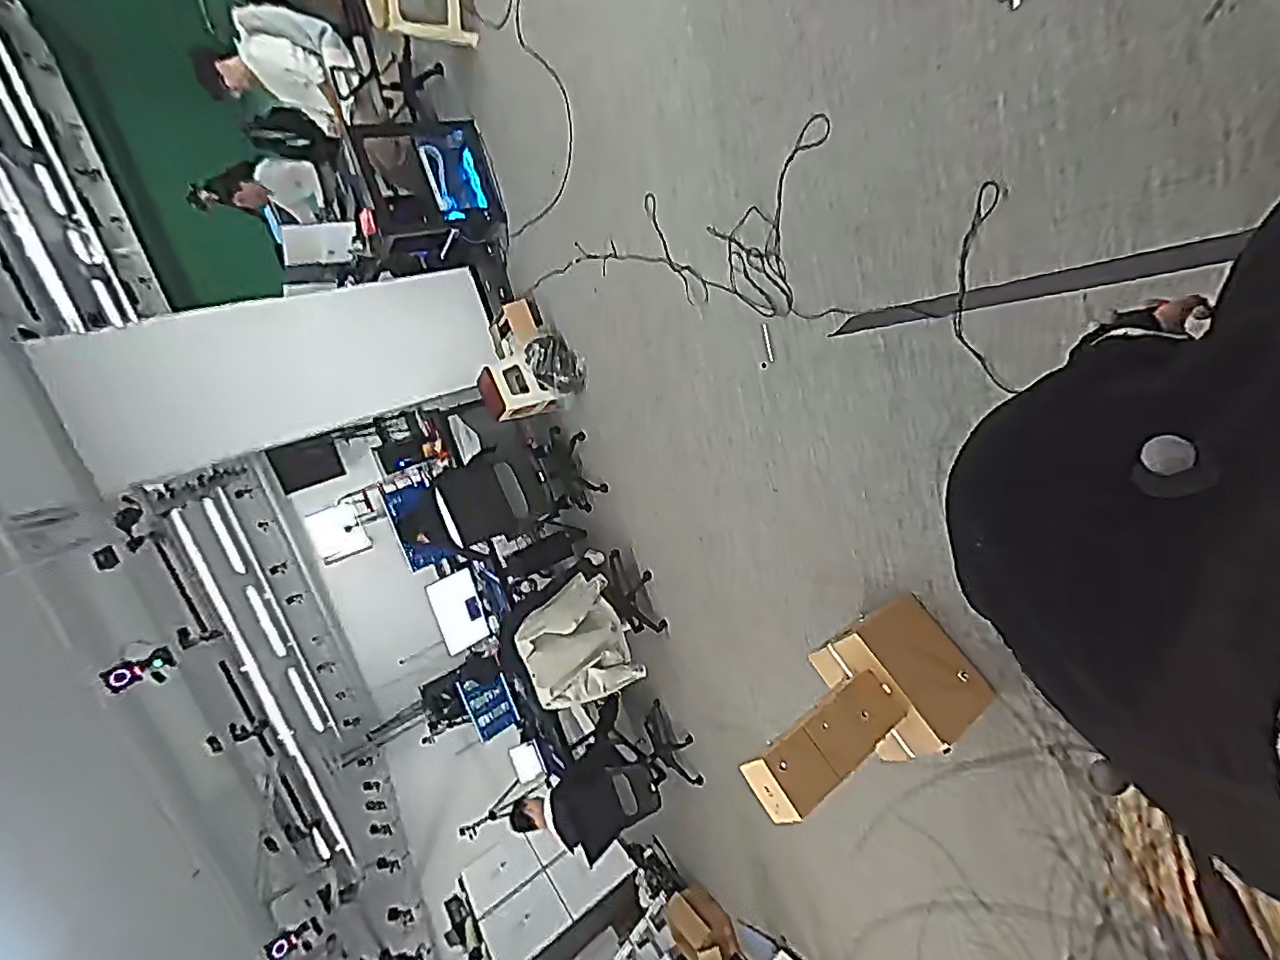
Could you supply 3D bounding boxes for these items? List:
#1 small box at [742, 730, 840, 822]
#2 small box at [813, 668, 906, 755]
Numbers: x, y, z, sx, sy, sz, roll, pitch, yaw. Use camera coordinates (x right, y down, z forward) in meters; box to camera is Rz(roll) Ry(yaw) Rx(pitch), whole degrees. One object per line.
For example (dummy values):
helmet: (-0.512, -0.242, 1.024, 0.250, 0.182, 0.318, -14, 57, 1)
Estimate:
small box: (0.435, 0.849, 1.562, 0.179, 0.176, 0.168, 54, 149, 22)
small box: (0.700, 0.736, 1.721, 0.179, 0.176, 0.168, 55, 148, 23)
